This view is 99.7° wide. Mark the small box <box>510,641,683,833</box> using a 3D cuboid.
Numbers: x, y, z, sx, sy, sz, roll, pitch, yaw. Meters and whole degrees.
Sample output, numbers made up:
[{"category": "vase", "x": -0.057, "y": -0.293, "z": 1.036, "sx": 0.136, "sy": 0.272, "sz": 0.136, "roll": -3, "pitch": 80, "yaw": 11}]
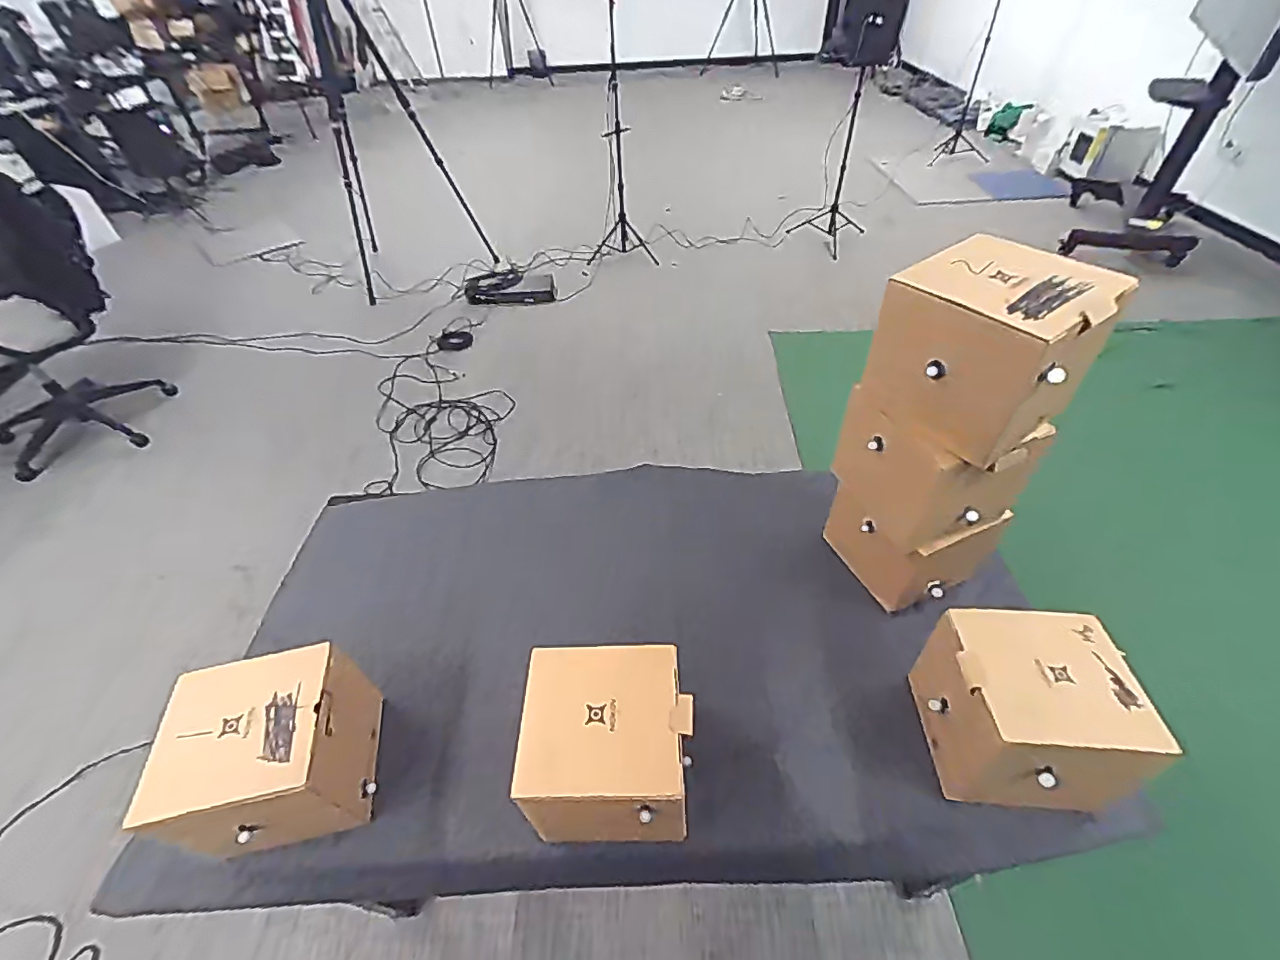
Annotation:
[{"category": "small box", "x": -0.040, "y": 0.310, "z": 0.649, "sx": 0.179, "sy": 0.176, "sz": 0.168, "roll": -2, "pitch": 45, "yaw": 2}]

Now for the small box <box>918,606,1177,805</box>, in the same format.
[{"category": "small box", "x": 0.458, "y": 0.272, "z": 0.653, "sx": 0.179, "sy": 0.176, "sz": 0.168, "roll": 1, "pitch": 42, "yaw": 5}]

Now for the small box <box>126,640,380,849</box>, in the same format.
[{"category": "small box", "x": -0.437, "y": 0.321, "z": 0.655, "sx": 0.179, "sy": 0.176, "sz": 0.168, "roll": -11, "pitch": 47, "yaw": -7}]

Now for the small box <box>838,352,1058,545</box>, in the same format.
[{"category": "small box", "x": 0.394, "y": -0.043, "z": 0.735, "sx": 0.168, "sy": 0.176, "sz": 0.179, "roll": -18, "pitch": 48, "yaw": -9}]

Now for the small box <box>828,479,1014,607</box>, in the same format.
[{"category": "small box", "x": 0.425, "y": 0.068, "z": 0.855, "sx": 0.168, "sy": 0.176, "sz": 0.179, "roll": -20, "pitch": 50, "yaw": -12}]
